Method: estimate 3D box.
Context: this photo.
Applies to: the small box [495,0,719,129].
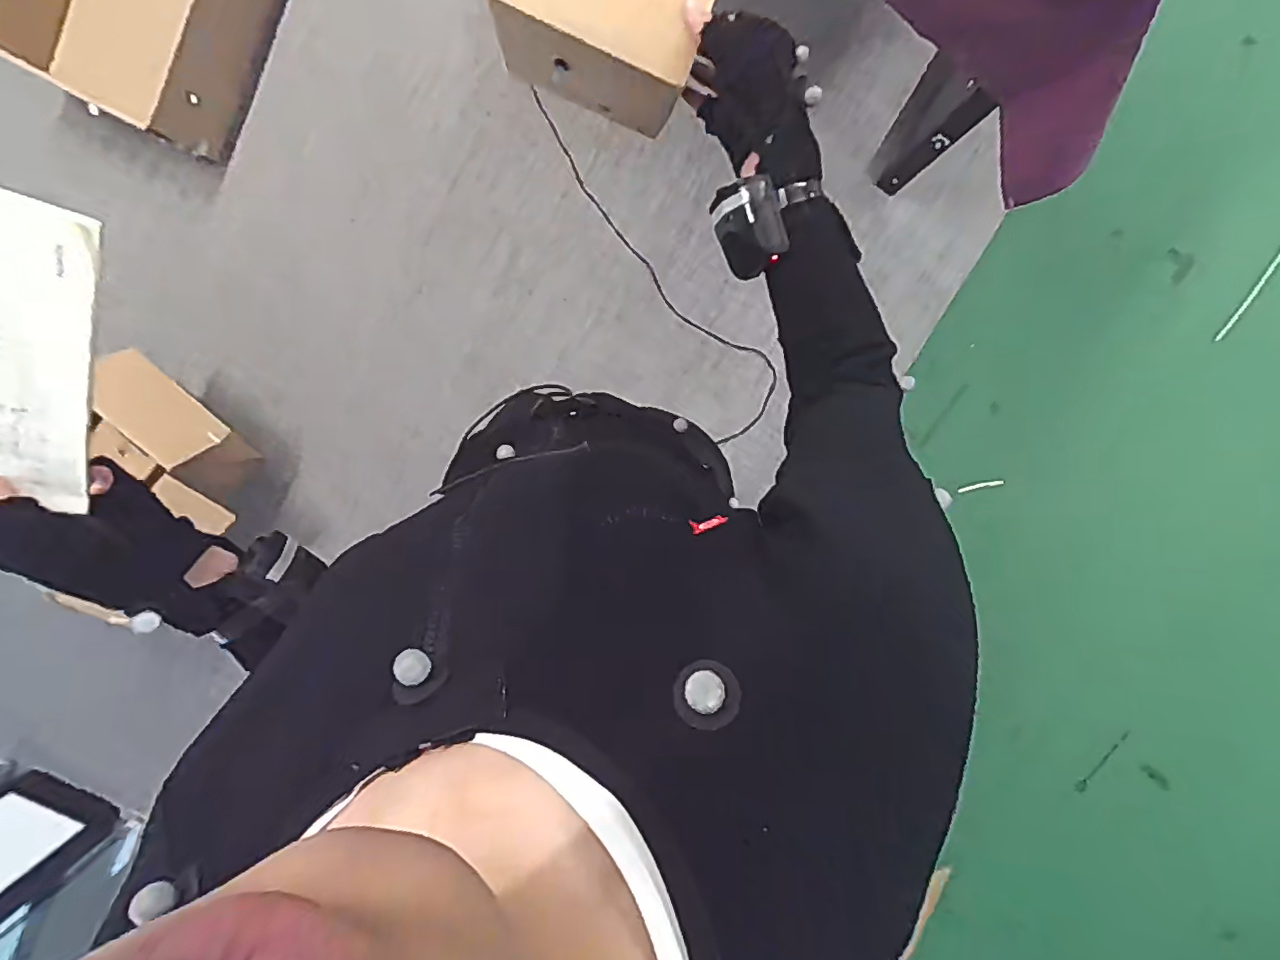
[{"bbox_3d":[-0.014,-0.442,0.464,0.168,0.176,0.179,17,106,-14],"label":"small box"}]
